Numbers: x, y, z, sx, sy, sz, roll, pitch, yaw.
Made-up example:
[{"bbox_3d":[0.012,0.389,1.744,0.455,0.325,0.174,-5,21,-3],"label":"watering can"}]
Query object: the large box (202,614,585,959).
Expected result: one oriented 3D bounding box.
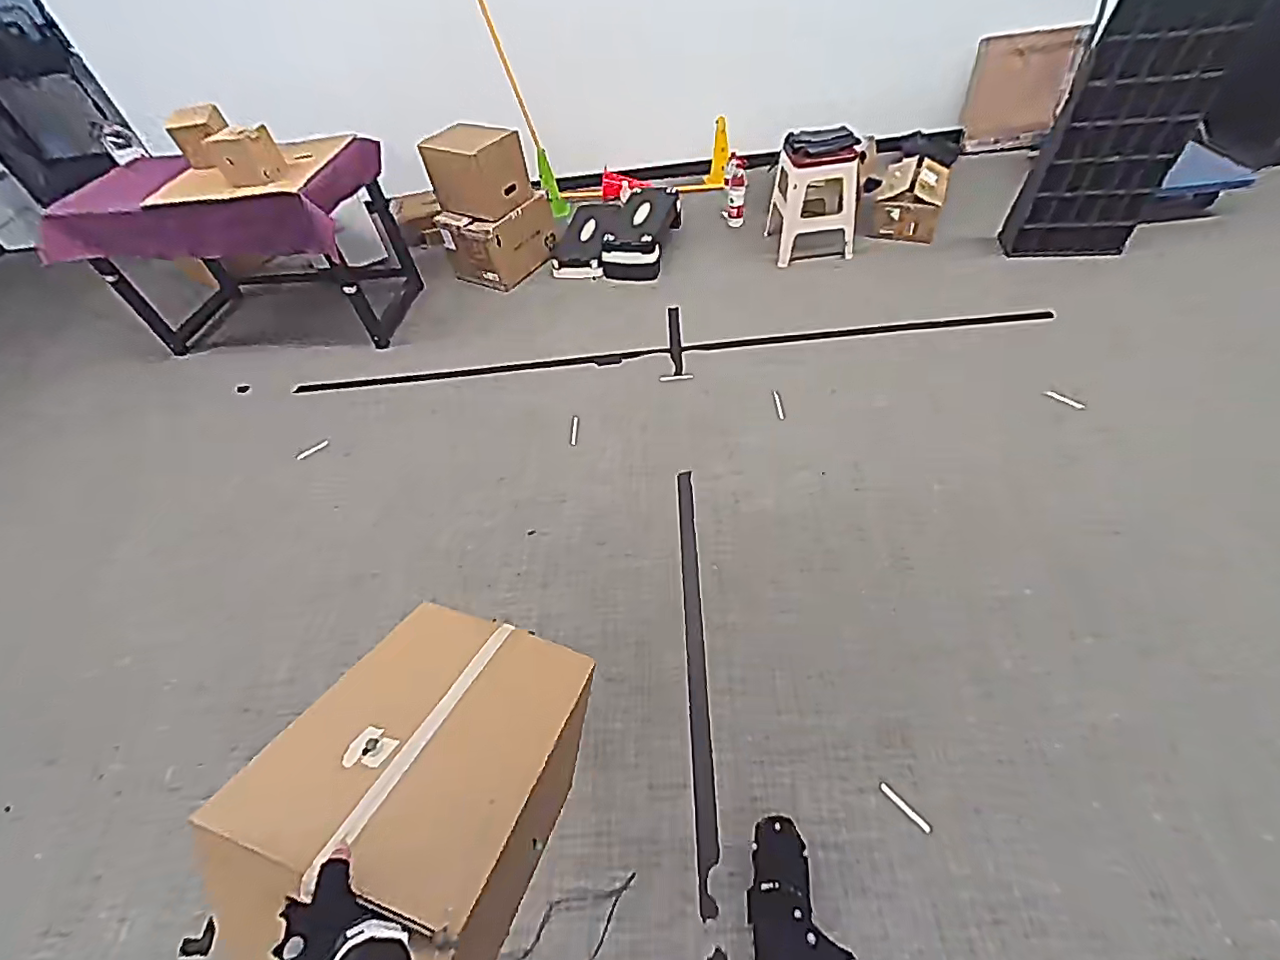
[{"bbox_3d":[-0.304,0.474,0.788,0.320,0.320,0.408,15,25,9],"label":"large box"}]
